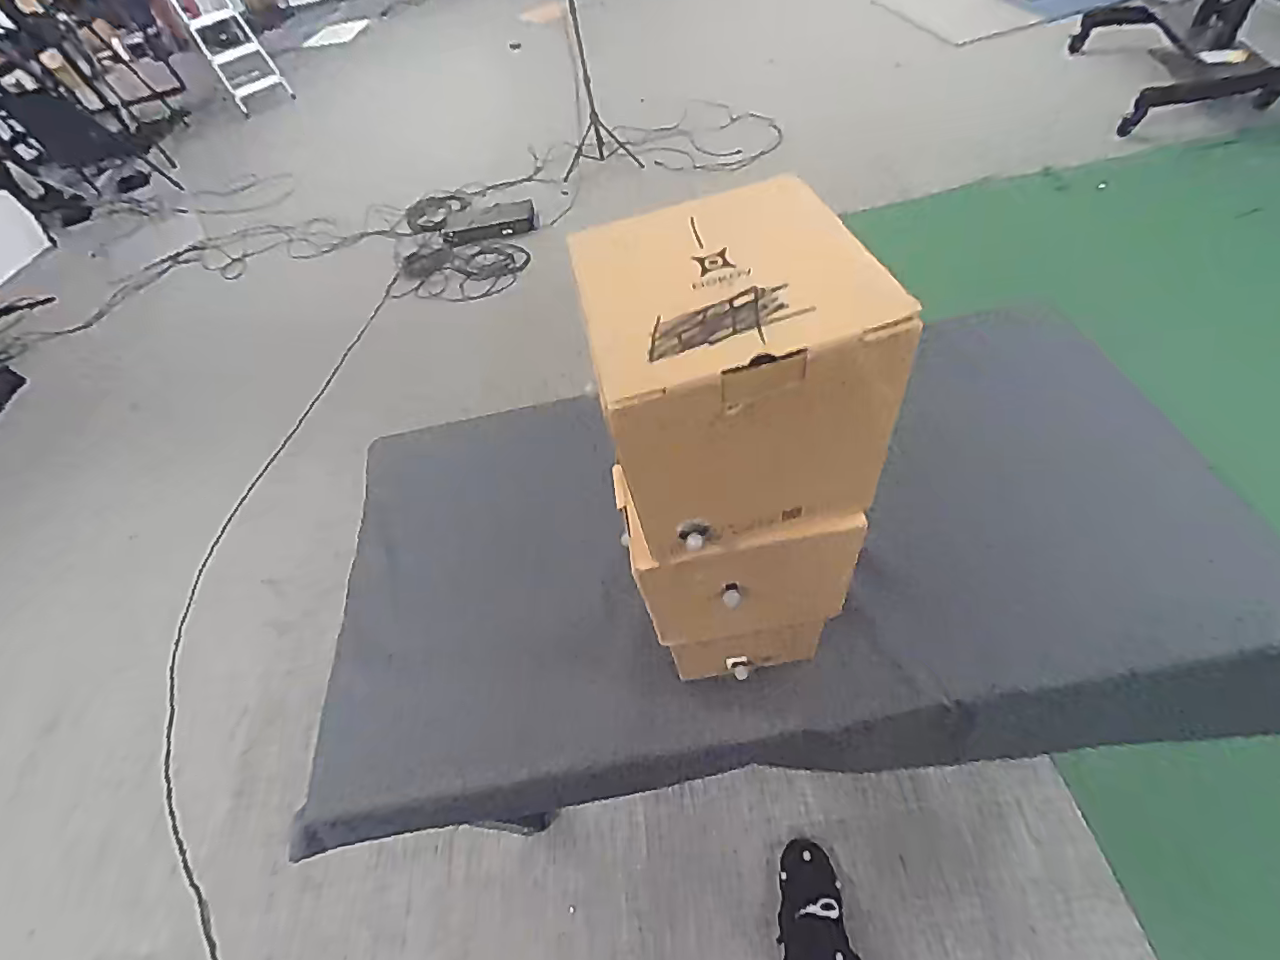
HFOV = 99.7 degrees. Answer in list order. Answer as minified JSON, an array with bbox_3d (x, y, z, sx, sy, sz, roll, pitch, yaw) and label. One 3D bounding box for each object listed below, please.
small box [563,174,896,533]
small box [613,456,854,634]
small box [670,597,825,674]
[{"bbox_3d":[0.054,-0.079,0.390,0.168,0.176,0.179,-15,51,1],"label":"small box"},{"bbox_3d":[0.080,0.028,0.517,0.179,0.176,0.168,-14,51,1],"label":"small box"},{"bbox_3d":[0.106,0.111,0.653,0.168,0.176,0.179,-14,53,3],"label":"small box"}]
